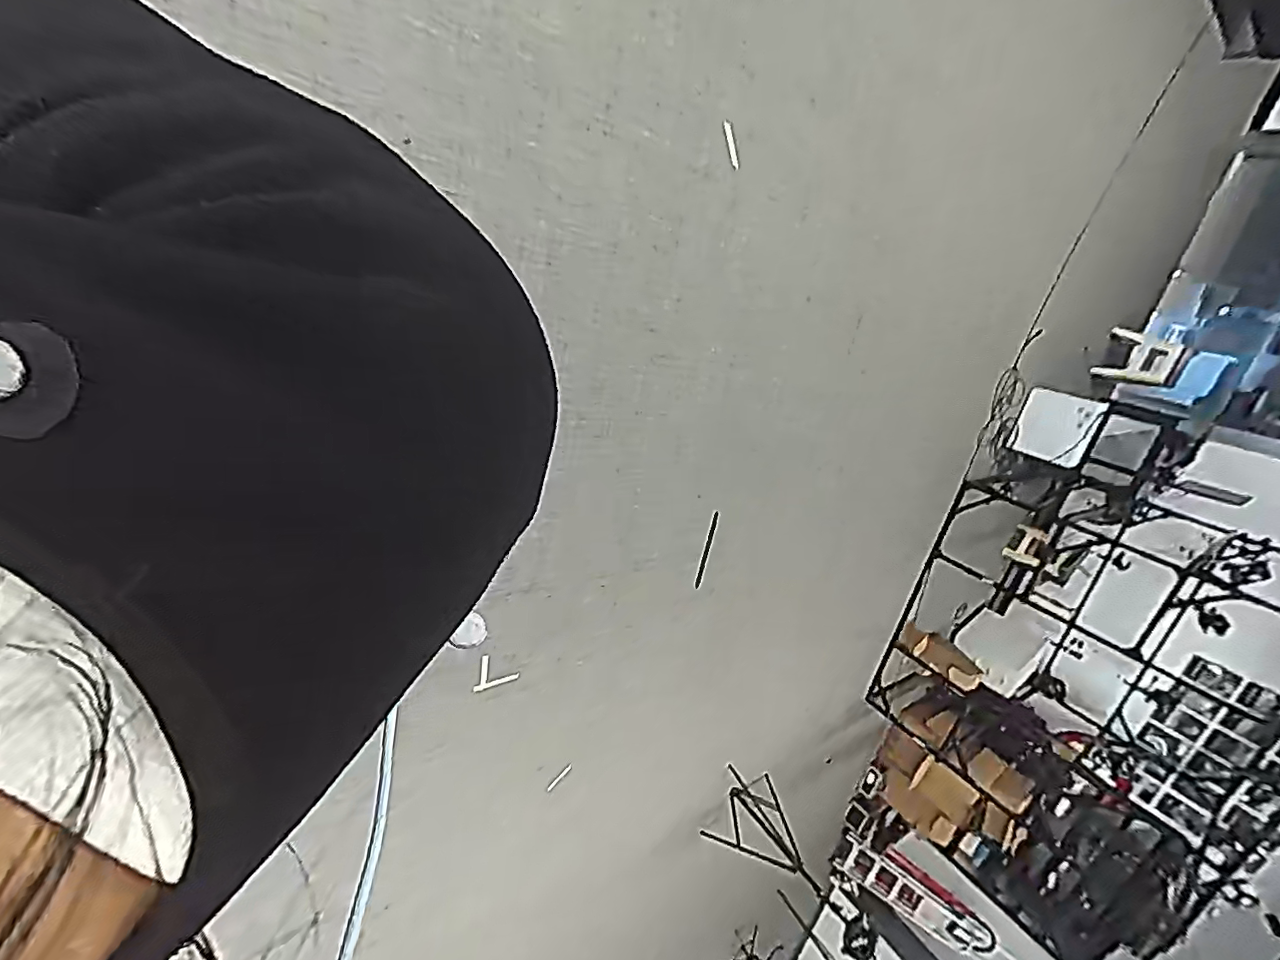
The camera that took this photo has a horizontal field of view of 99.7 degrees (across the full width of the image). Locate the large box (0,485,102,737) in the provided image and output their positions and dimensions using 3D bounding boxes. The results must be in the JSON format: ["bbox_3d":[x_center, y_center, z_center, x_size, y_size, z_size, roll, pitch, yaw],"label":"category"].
[{"bbox_3d":[-0.695,0.051,0.331,0.320,0.320,0.408,-42,150,-32],"label":"large box"}]
